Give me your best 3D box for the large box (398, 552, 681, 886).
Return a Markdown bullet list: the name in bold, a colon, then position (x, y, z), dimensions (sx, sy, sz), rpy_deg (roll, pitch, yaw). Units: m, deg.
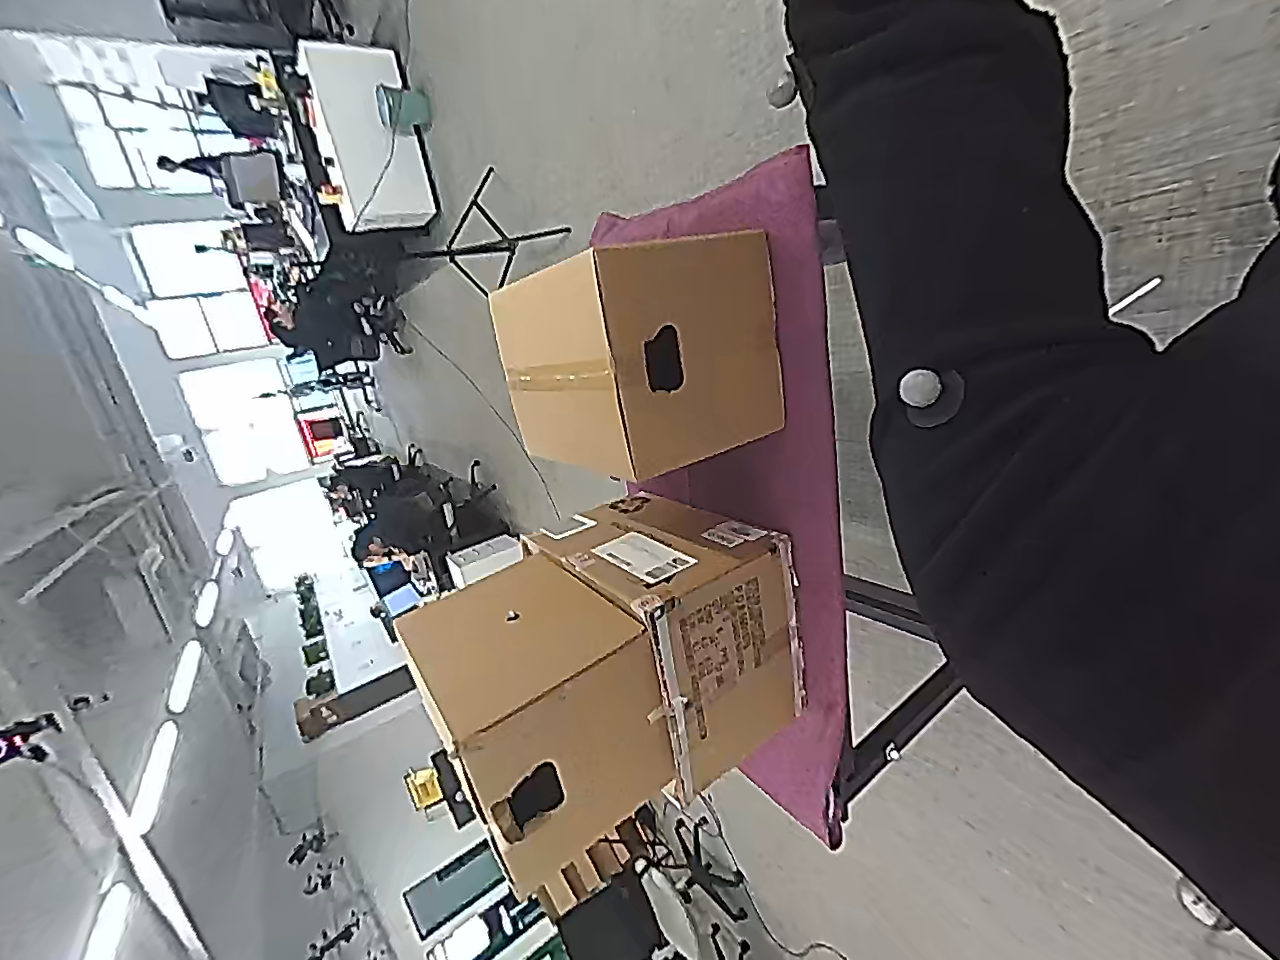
- **large box**: position (-0.188, 0.367, 0.964), dimensions (0.408, 0.320, 0.320), rpy_deg (16, 125, 54)
